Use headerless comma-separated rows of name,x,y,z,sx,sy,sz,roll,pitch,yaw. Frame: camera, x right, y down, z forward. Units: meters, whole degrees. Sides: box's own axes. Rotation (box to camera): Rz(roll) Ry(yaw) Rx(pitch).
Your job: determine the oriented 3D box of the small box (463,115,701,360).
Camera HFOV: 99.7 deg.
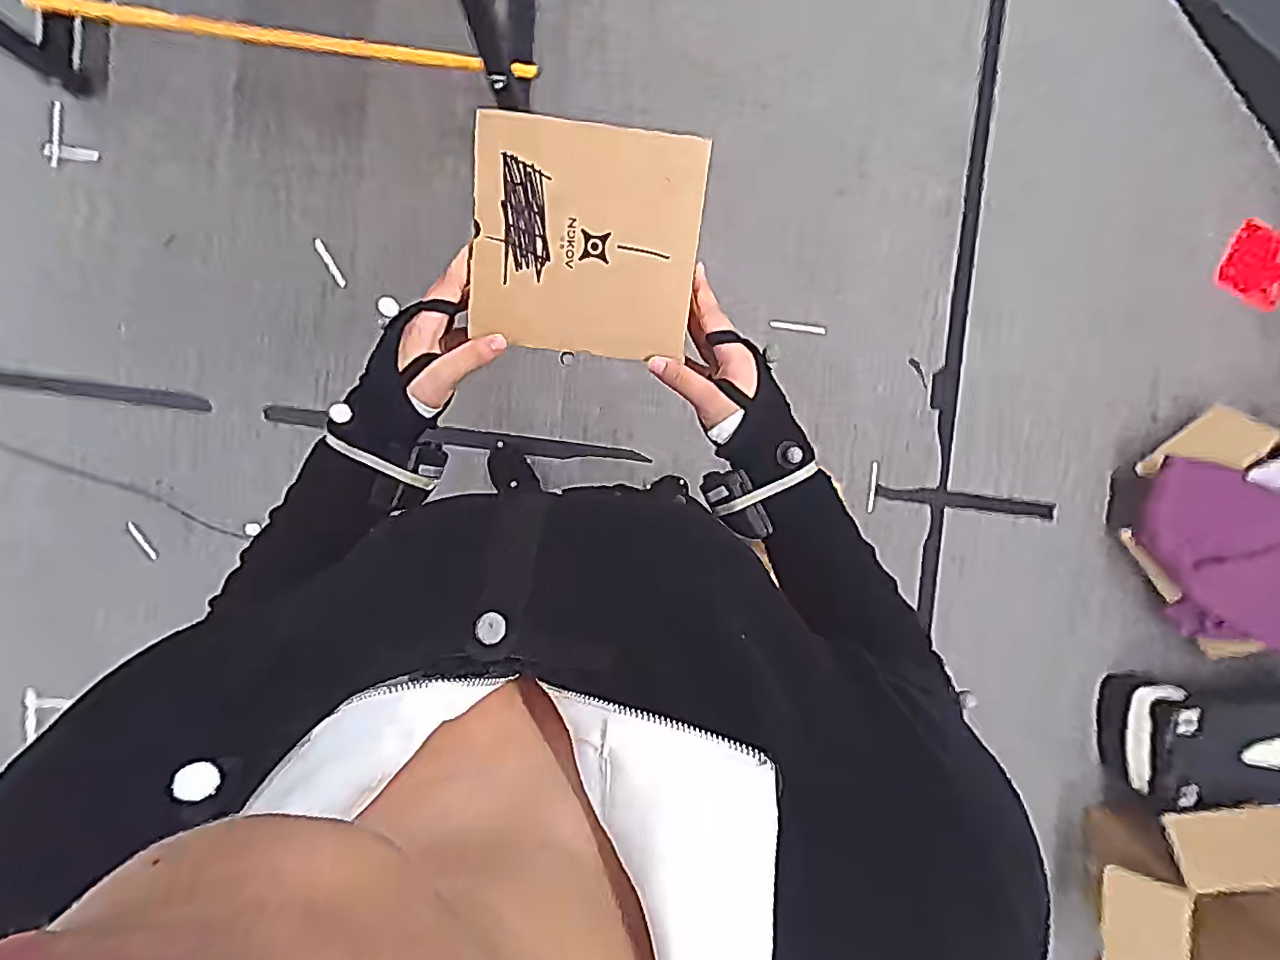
small box,-0.048,-0.204,0.502,0.179,0.176,0.168,7,104,-1
